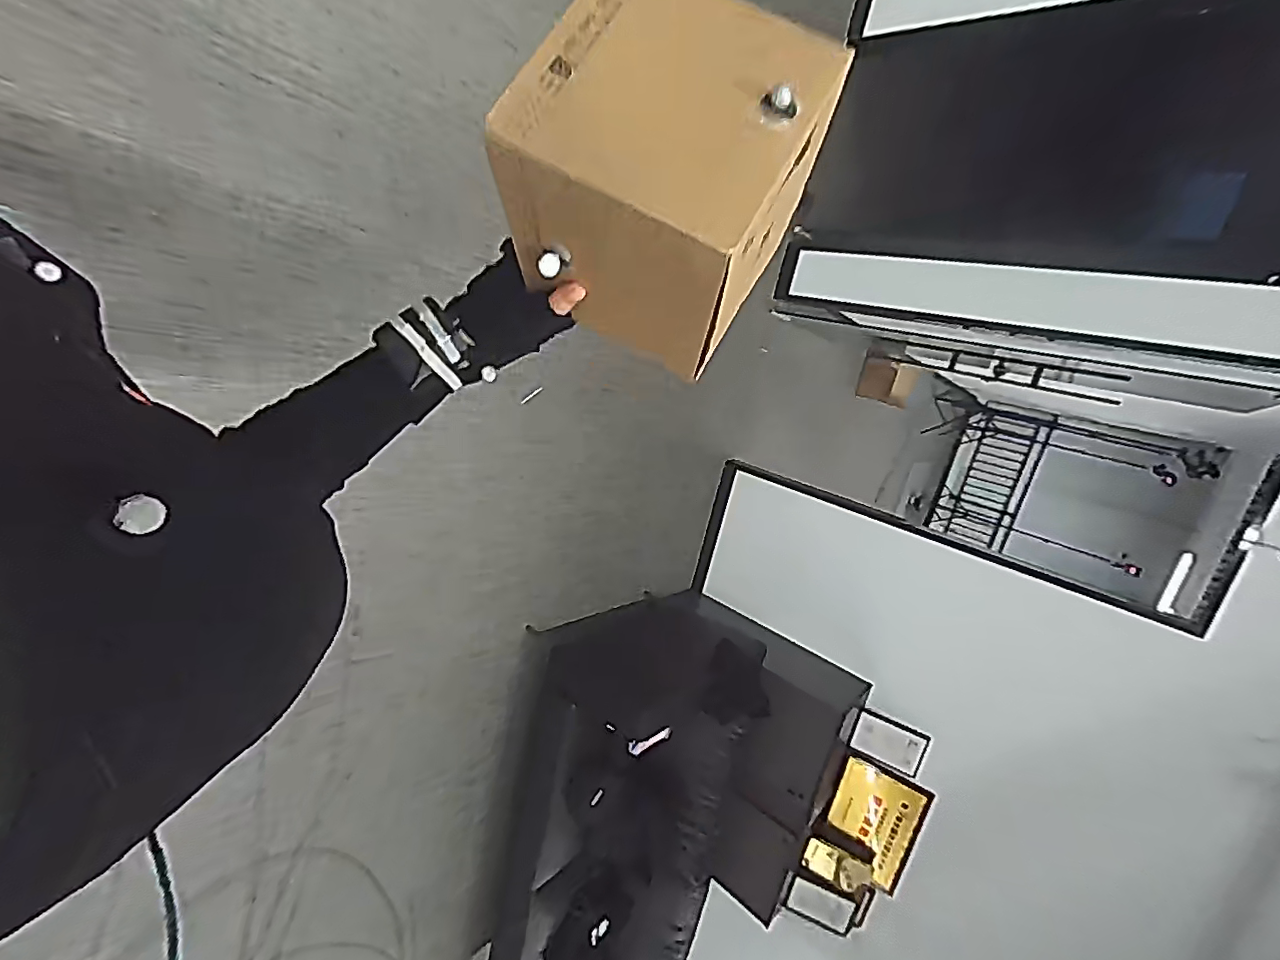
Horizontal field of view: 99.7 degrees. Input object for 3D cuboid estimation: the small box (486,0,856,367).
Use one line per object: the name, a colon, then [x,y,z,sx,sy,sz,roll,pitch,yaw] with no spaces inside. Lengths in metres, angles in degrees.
small box: [0.015,-0.218,0.393,0.168,0.176,0.179,-61,176,-11]
